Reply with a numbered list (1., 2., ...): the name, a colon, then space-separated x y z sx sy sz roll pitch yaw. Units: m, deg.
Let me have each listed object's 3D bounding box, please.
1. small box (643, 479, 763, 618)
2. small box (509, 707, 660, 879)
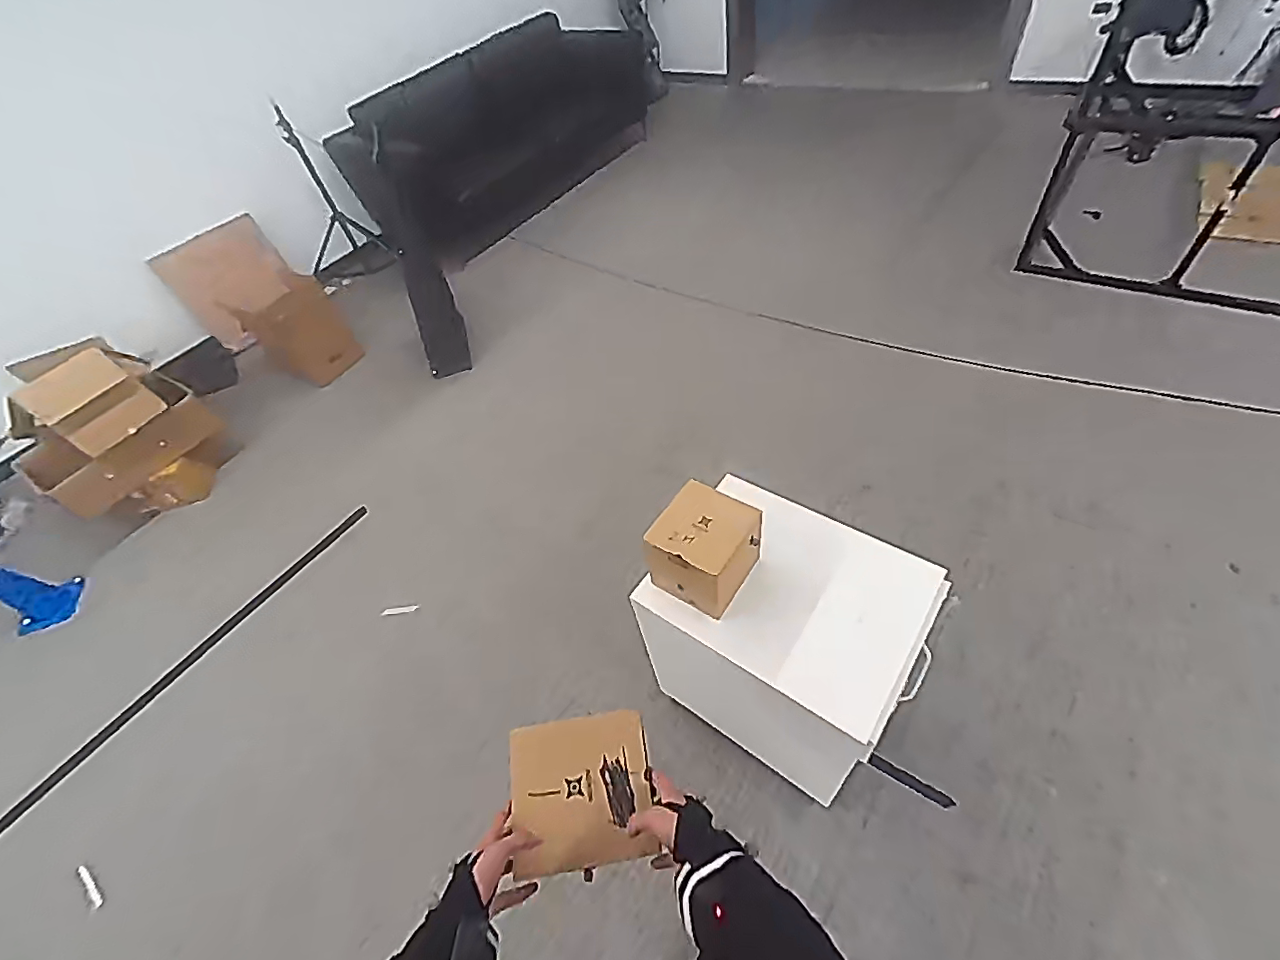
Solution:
1. small box: 0.128 0.136 1.073 0.168 0.176 0.179 25 59 28
2. small box: -0.072 0.419 0.730 0.179 0.176 0.168 -9 56 -3
